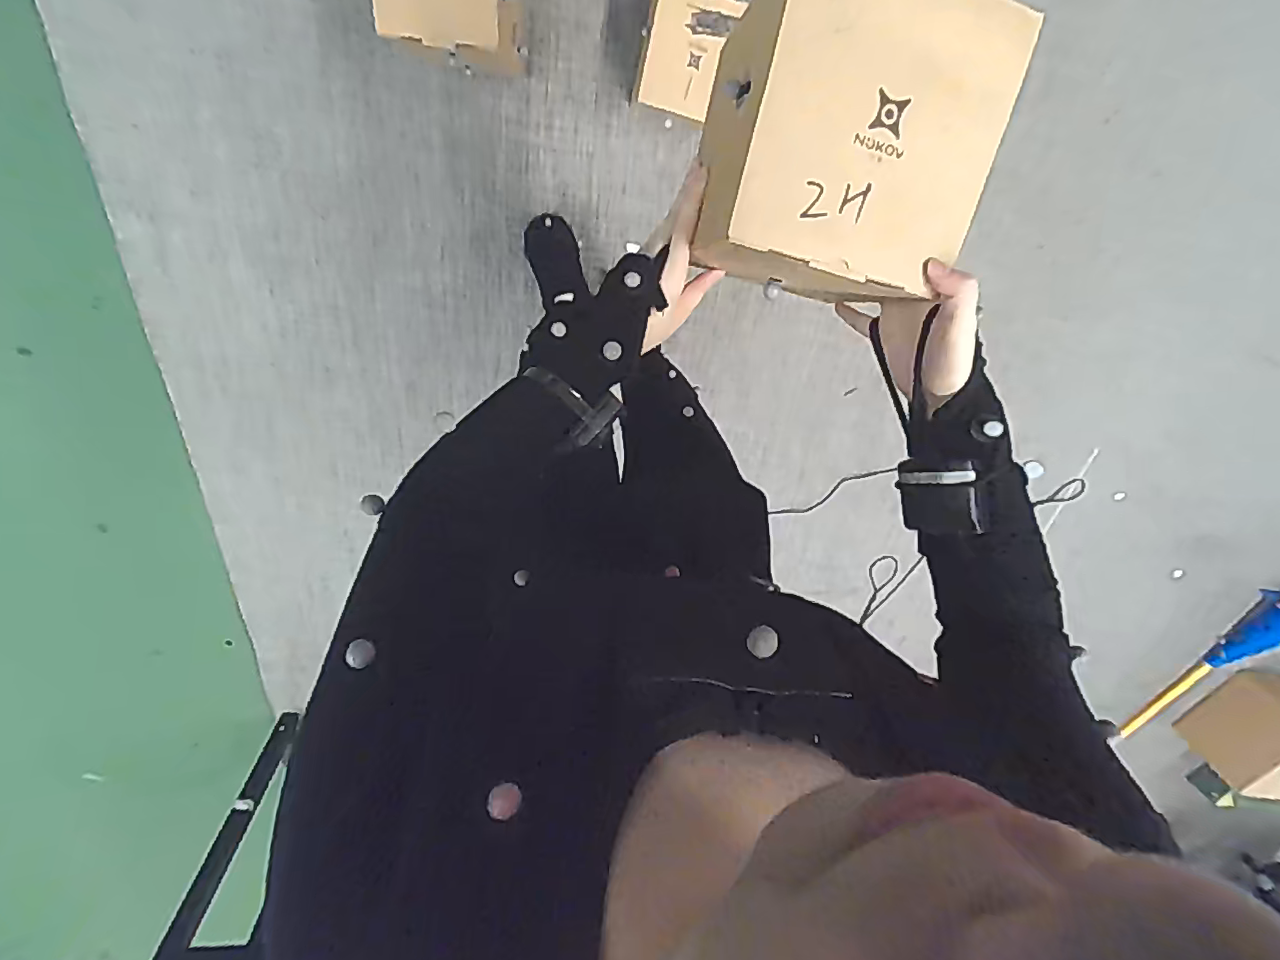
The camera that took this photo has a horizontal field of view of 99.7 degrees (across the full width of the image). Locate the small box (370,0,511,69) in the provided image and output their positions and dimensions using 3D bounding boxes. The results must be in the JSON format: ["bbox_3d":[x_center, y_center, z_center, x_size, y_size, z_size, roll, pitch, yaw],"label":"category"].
[{"bbox_3d":[-0.276,-0.705,0.767,0.168,0.176,0.179,2,122,-7],"label":"small box"}]

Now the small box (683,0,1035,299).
[{"bbox_3d":[0.143,-0.249,0.423,0.168,0.176,0.179,10,106,-12],"label":"small box"}]

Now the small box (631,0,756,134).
[{"bbox_3d":[0.083,-0.748,0.975,0.168,0.176,0.179,10,121,-12],"label":"small box"}]
